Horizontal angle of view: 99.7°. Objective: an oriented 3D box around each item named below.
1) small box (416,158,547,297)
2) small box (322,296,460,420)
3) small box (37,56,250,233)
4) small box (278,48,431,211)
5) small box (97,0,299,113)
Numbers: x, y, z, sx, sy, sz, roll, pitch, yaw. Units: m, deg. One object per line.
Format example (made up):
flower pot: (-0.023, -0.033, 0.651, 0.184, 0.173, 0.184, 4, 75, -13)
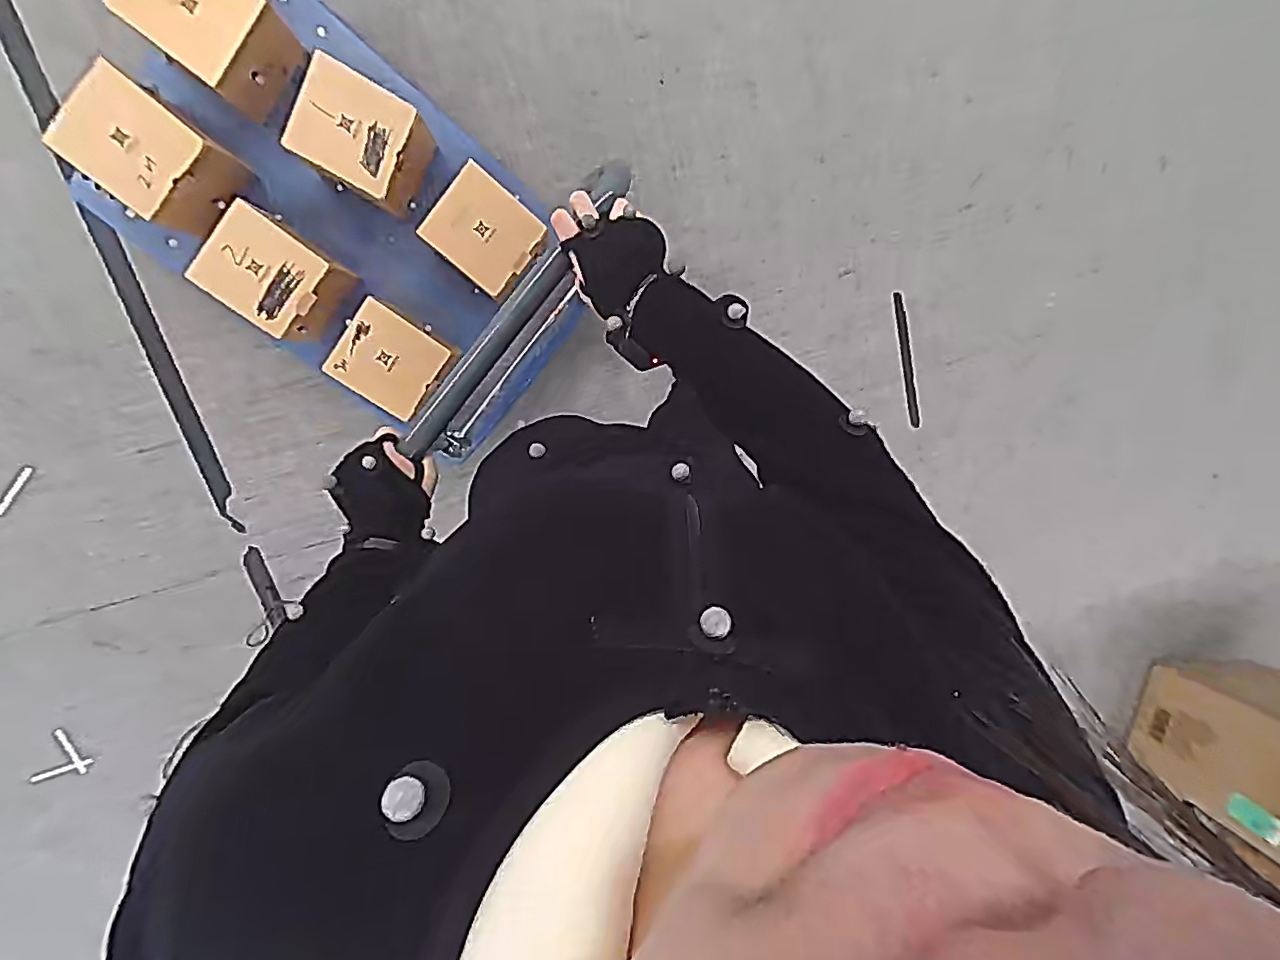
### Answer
small box: (-0.301, -0.479, 1.060, 0.179, 0.176, 0.168, 38, 94, -16)
small box: (-0.482, -0.243, 1.081, 0.179, 0.176, 0.168, 34, 94, -16)
small box: (-0.840, -0.560, 0.937, 0.179, 0.176, 0.168, 39, 94, -17)
small box: (-0.506, -0.618, 0.987, 0.179, 0.176, 0.168, 25, 98, -14)
small box: (-0.724, -0.764, 0.912, 0.179, 0.176, 0.168, 34, 96, -16)
